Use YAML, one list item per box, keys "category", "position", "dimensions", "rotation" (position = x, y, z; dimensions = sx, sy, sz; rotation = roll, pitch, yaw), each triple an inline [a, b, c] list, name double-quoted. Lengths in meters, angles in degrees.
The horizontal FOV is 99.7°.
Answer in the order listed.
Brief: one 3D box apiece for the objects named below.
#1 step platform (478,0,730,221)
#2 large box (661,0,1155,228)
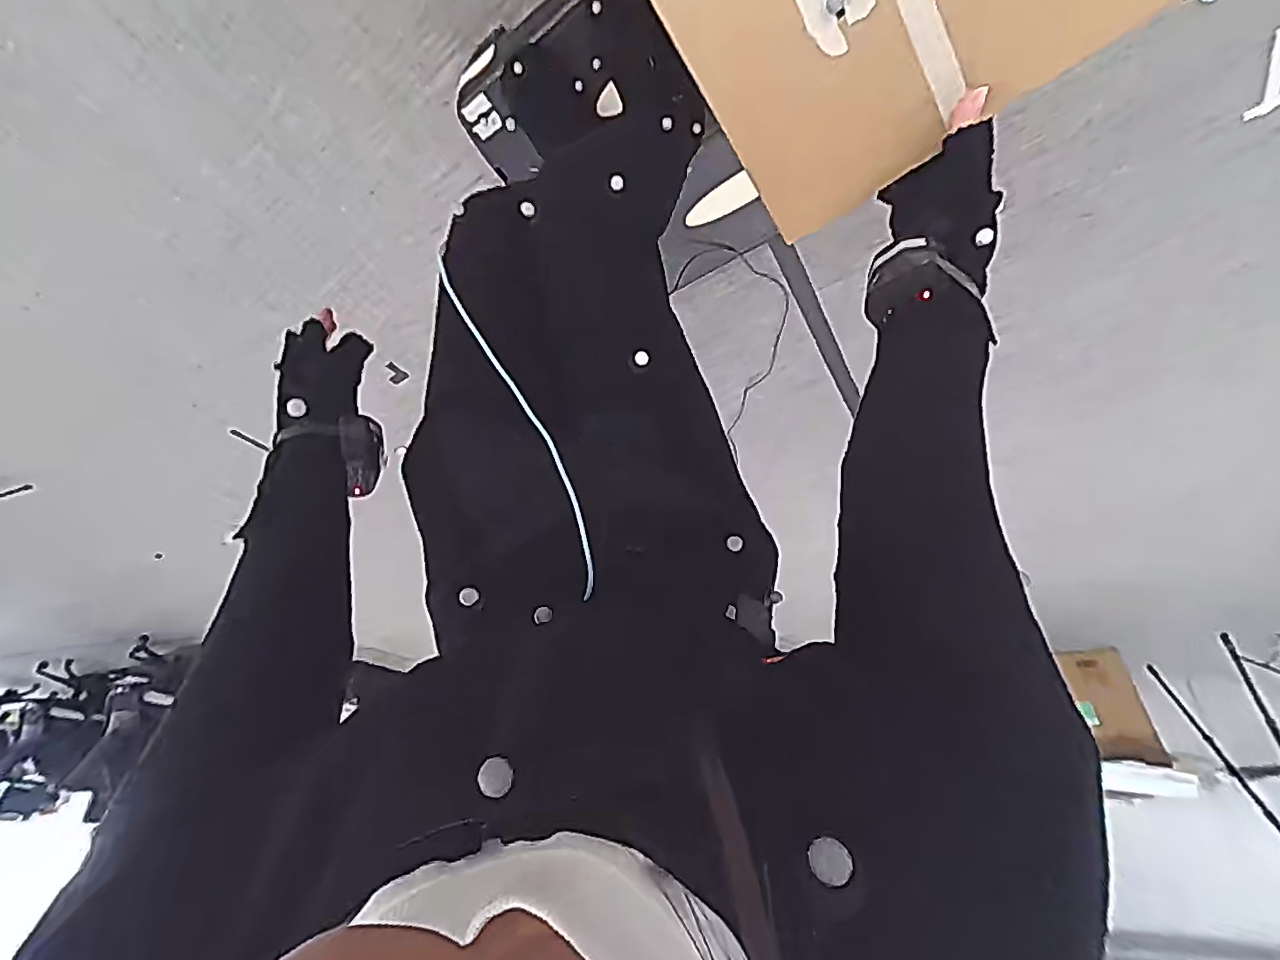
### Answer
- category: "step platform"
  position: [0.068, -0.718, 0.842]
  dimensions: [0.684, 0.204, 0.286]
  rotation: [-21, 140, 29]
- category: "large box"
  position: [0.183, -0.526, 0.475]
  dimensions: [0.320, 0.320, 0.408]
  rotation: [-23, 120, 34]
